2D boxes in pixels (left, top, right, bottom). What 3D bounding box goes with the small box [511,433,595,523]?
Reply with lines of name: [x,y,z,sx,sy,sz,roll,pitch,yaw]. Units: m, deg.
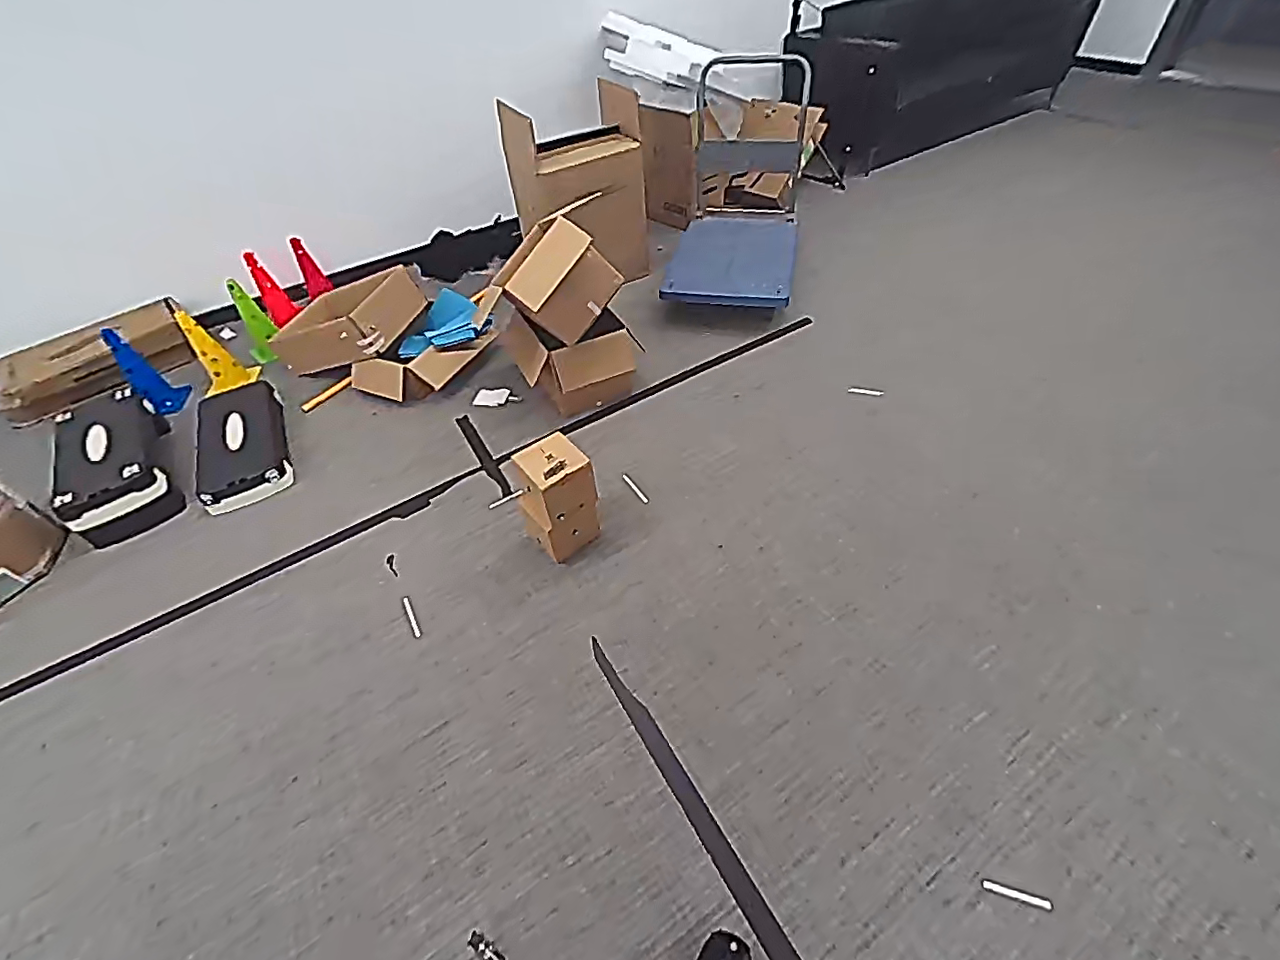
small box: [-0.248,0.001,1.578,0.168,0.176,0.179,-31,51,-22]
